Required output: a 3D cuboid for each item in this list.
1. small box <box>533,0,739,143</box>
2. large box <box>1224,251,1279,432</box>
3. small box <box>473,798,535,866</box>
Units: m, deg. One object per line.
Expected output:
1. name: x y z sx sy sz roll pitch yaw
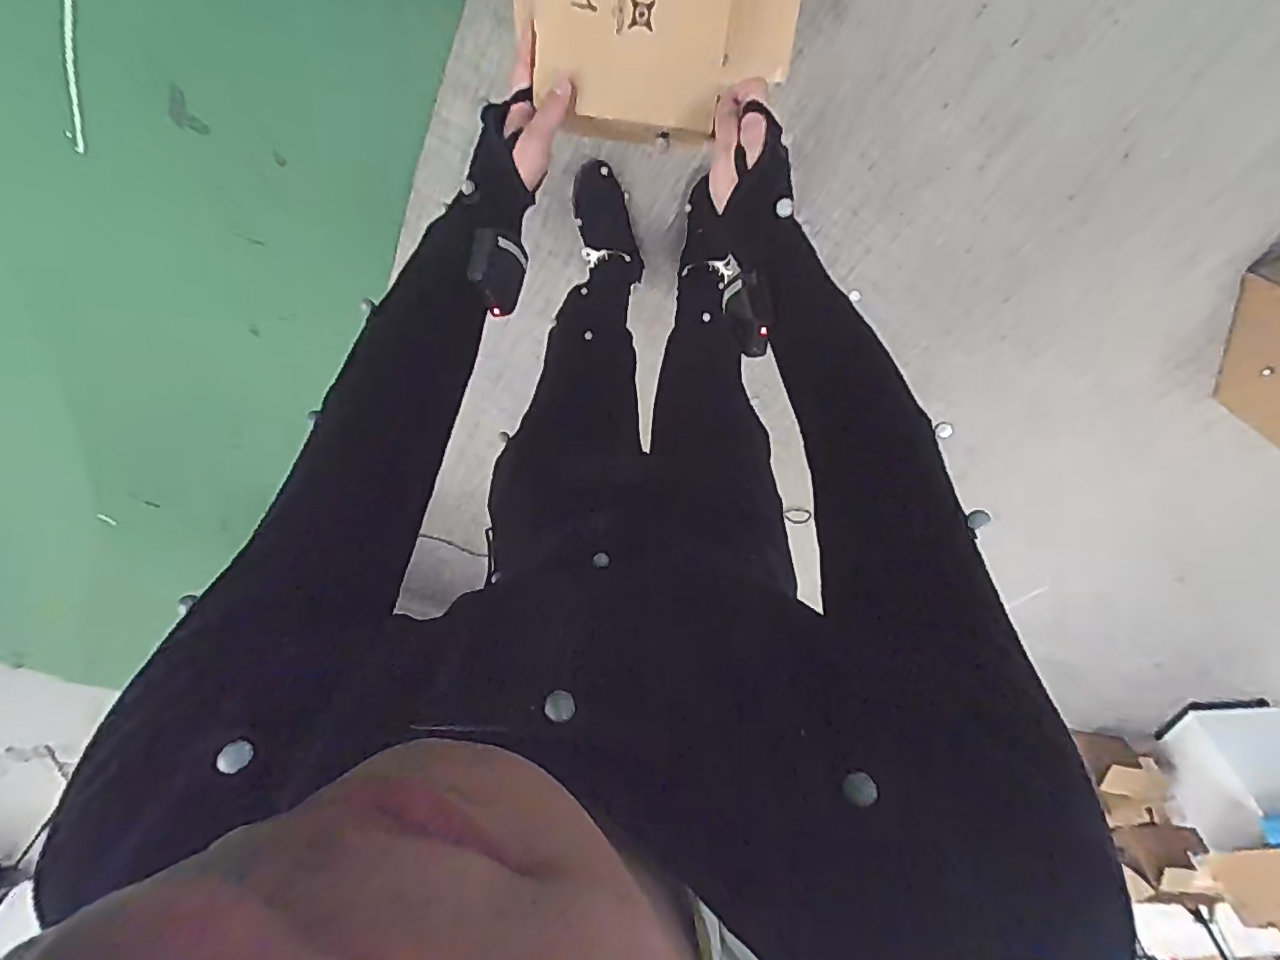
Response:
1. small box: -0.004 -0.446 0.538 0.179 0.176 0.168 6 117 -4
2. large box: 1.636 -0.321 1.212 0.320 0.320 0.408 -19 129 19
3. small box: -0.473 1.269 1.949 0.179 0.176 0.168 25 130 -19
